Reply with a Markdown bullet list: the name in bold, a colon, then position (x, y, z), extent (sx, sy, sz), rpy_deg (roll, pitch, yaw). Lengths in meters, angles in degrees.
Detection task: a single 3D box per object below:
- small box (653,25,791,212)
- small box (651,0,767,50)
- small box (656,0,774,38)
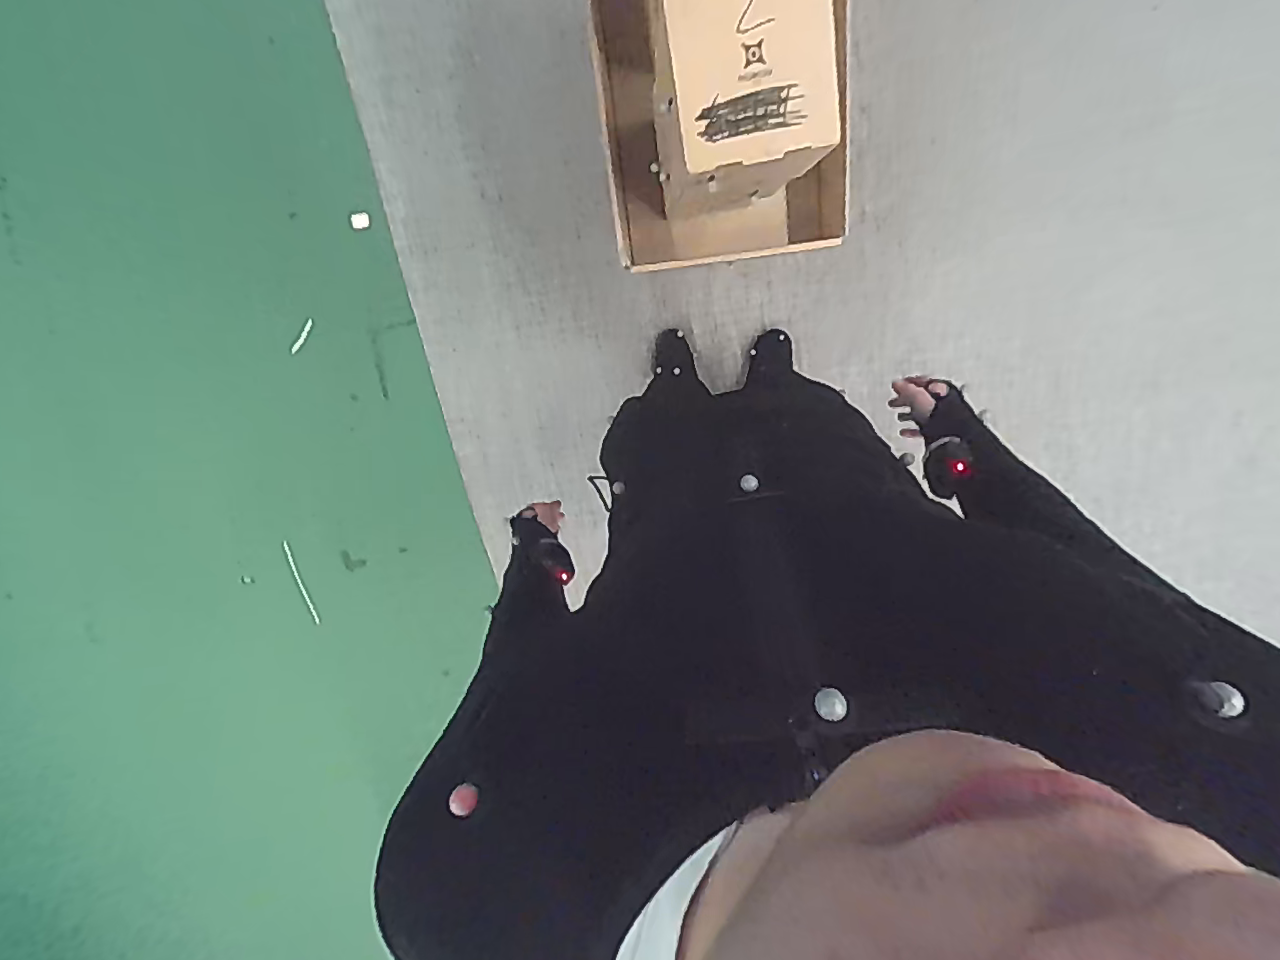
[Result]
- **small box**: position (0.113, -0.500, 0.781), extent (0.168, 0.176, 0.179), rpy_deg (-9, 107, 4)
- **small box**: position (0.101, -0.787, 0.860), extent (0.168, 0.176, 0.179), rpy_deg (-7, 110, 5)
- **small box**: position (0.096, -0.730, 0.709), extent (0.168, 0.176, 0.179), rpy_deg (-8, 110, 4)
